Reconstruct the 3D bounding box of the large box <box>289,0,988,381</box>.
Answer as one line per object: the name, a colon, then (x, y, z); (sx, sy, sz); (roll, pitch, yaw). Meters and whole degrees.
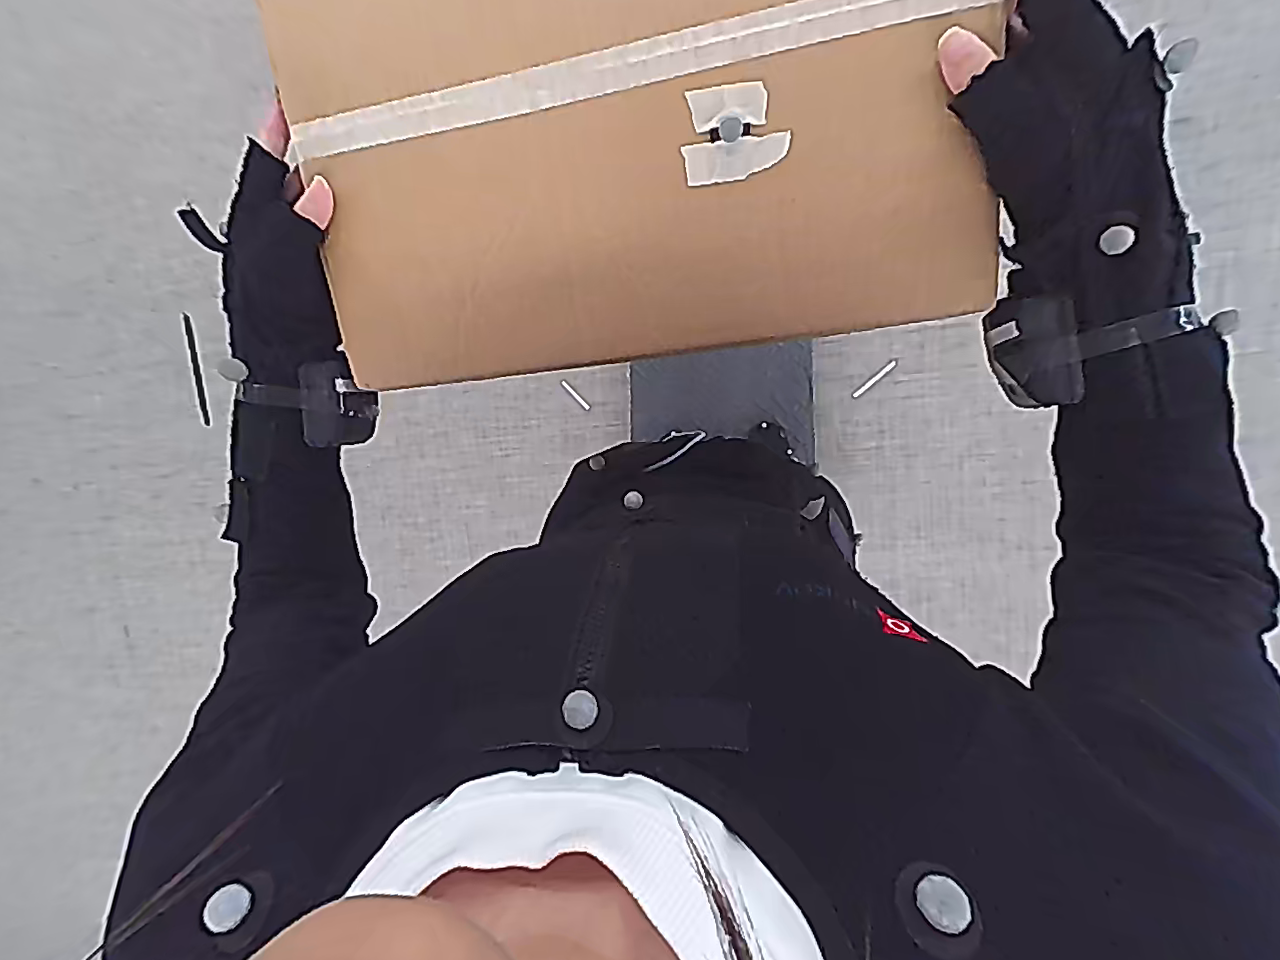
large box: (0.008, -0.274, 0.460); (0.408, 0.320, 0.320); (-6, 104, 10)
